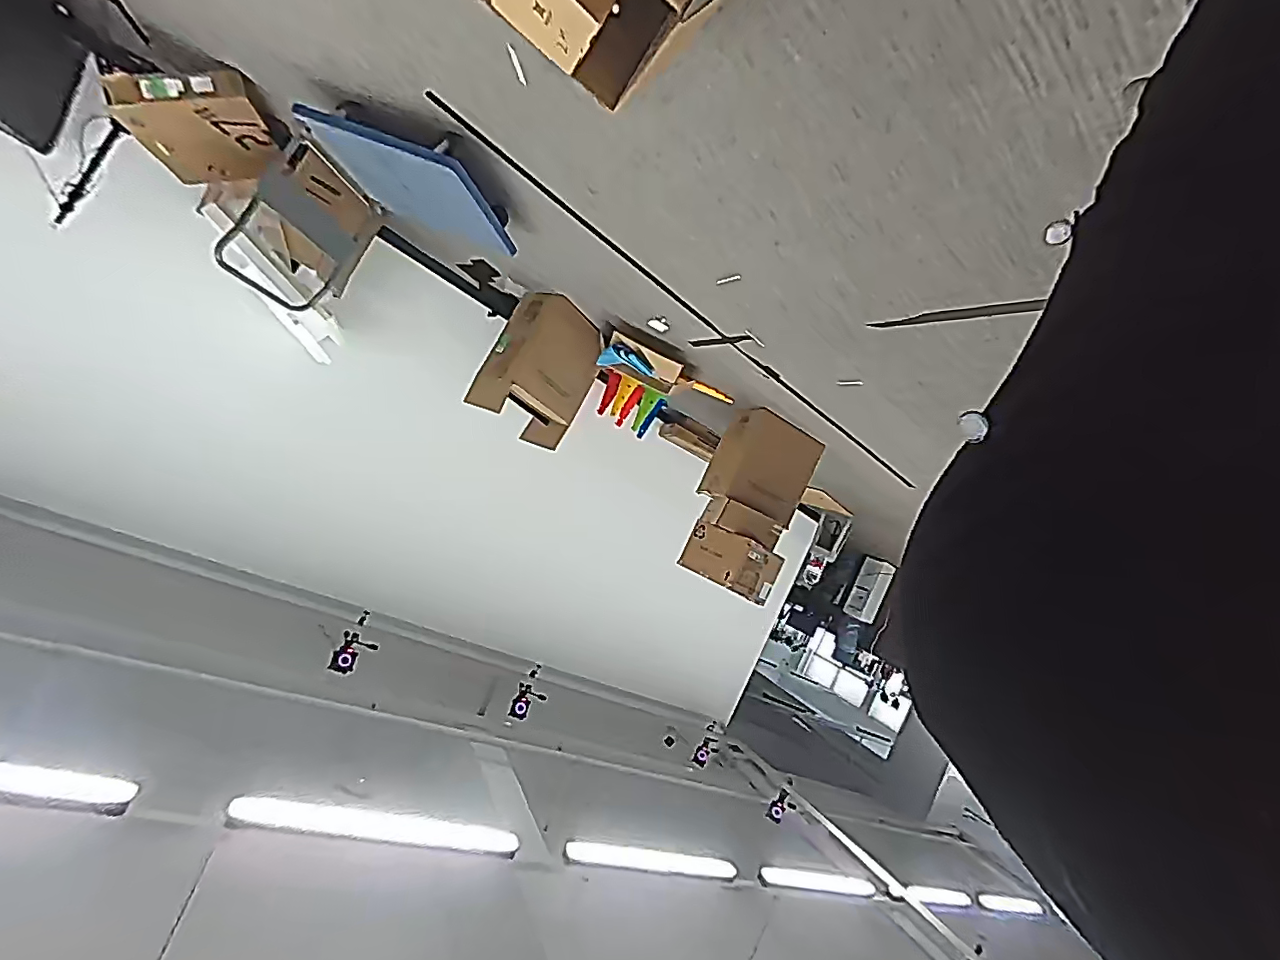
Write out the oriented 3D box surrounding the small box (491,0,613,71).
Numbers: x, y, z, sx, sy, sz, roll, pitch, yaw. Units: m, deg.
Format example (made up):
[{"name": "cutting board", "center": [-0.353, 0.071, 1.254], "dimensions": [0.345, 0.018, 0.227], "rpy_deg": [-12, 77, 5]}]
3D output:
[{"name": "small box", "center": [-0.133, -0.890, 0.944], "dimensions": [0.179, 0.176, 0.168], "rpy_deg": [29, 175, -27]}]
